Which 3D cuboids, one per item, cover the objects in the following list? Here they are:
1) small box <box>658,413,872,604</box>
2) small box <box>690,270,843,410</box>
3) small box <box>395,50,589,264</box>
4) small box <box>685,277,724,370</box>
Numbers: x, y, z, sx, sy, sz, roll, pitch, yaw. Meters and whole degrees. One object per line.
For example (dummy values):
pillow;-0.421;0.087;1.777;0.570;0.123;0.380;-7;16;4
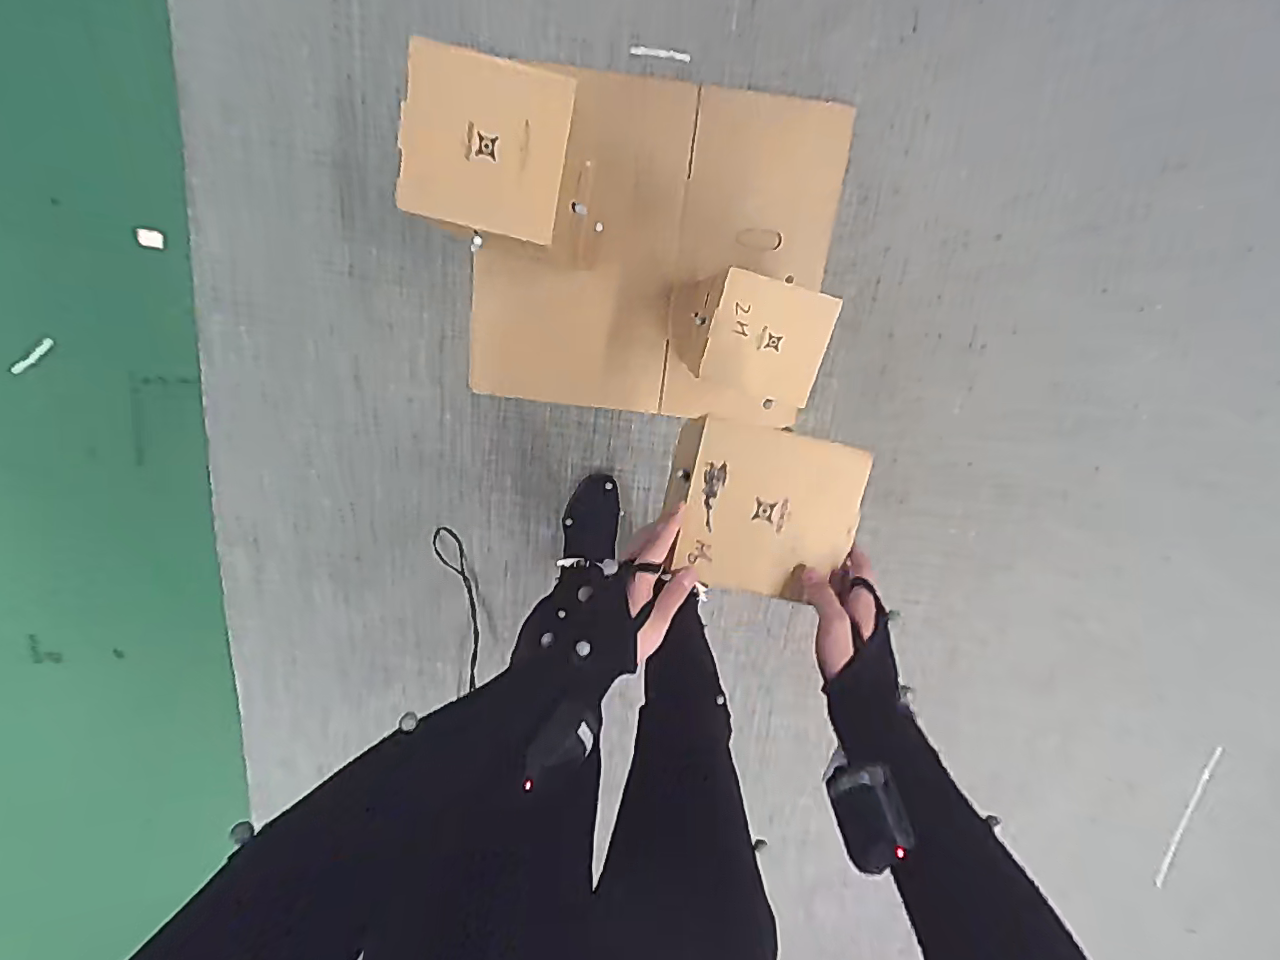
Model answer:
small box;0.127;0.025;0.620;0.179;0.176;0.168;13;93;-4
small box;0.190;-0.224;0.868;0.179;0.176;0.168;15;105;-3
small box;-0.168;-0.371;0.657;0.179;0.176;0.168;12;106;-4
small box;0.192;-0.277;1.025;0.179;0.176;0.168;11;105;-2
